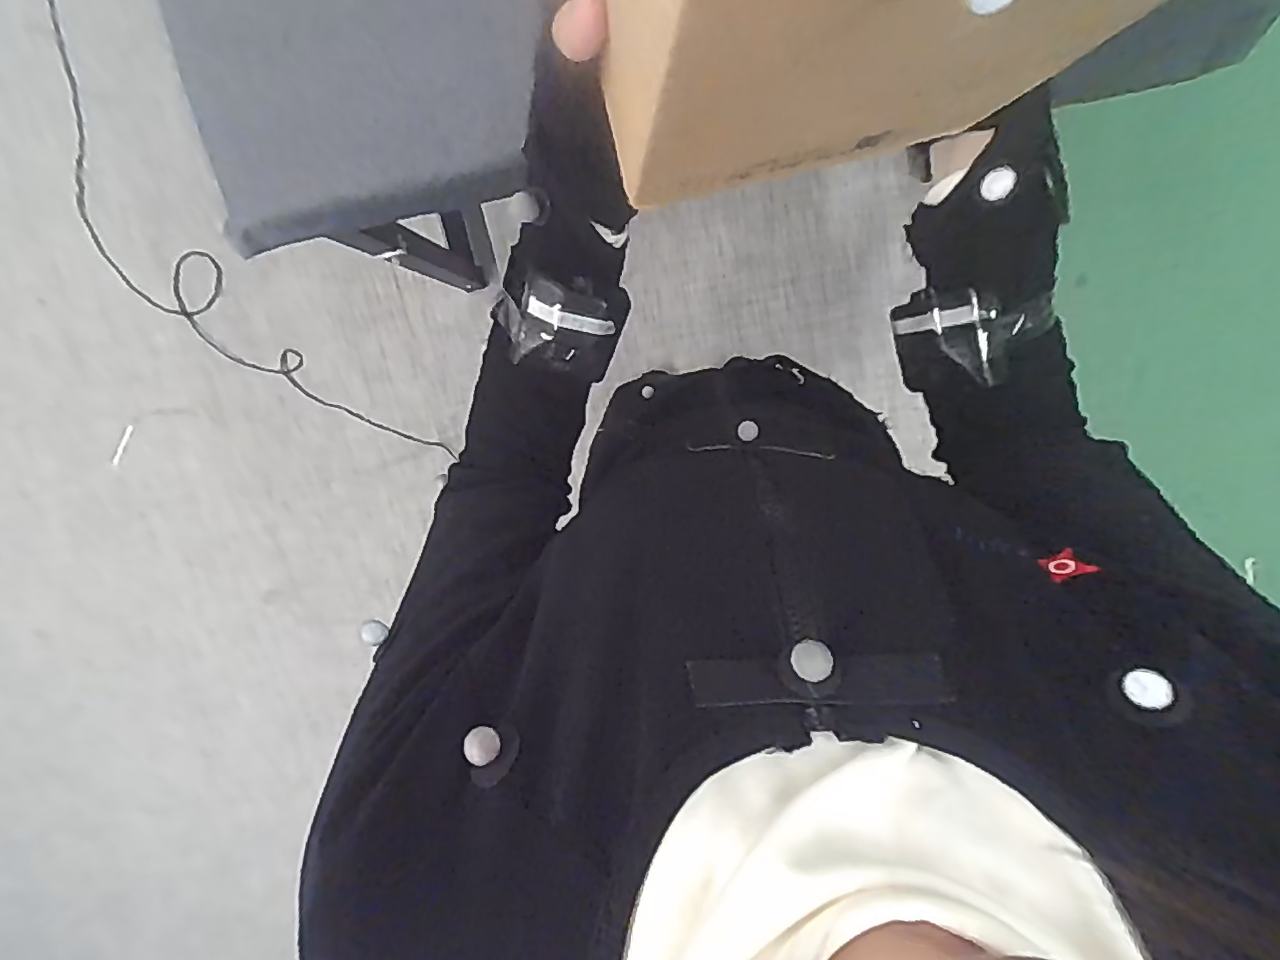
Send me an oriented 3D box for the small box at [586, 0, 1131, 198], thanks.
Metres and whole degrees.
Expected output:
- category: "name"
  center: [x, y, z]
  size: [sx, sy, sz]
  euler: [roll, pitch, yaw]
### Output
- category: "small box"
  center: [0.060, -0.215, 0.156]
  size: [0.168, 0.176, 0.179]
  euler: [-15, 101, -1]
